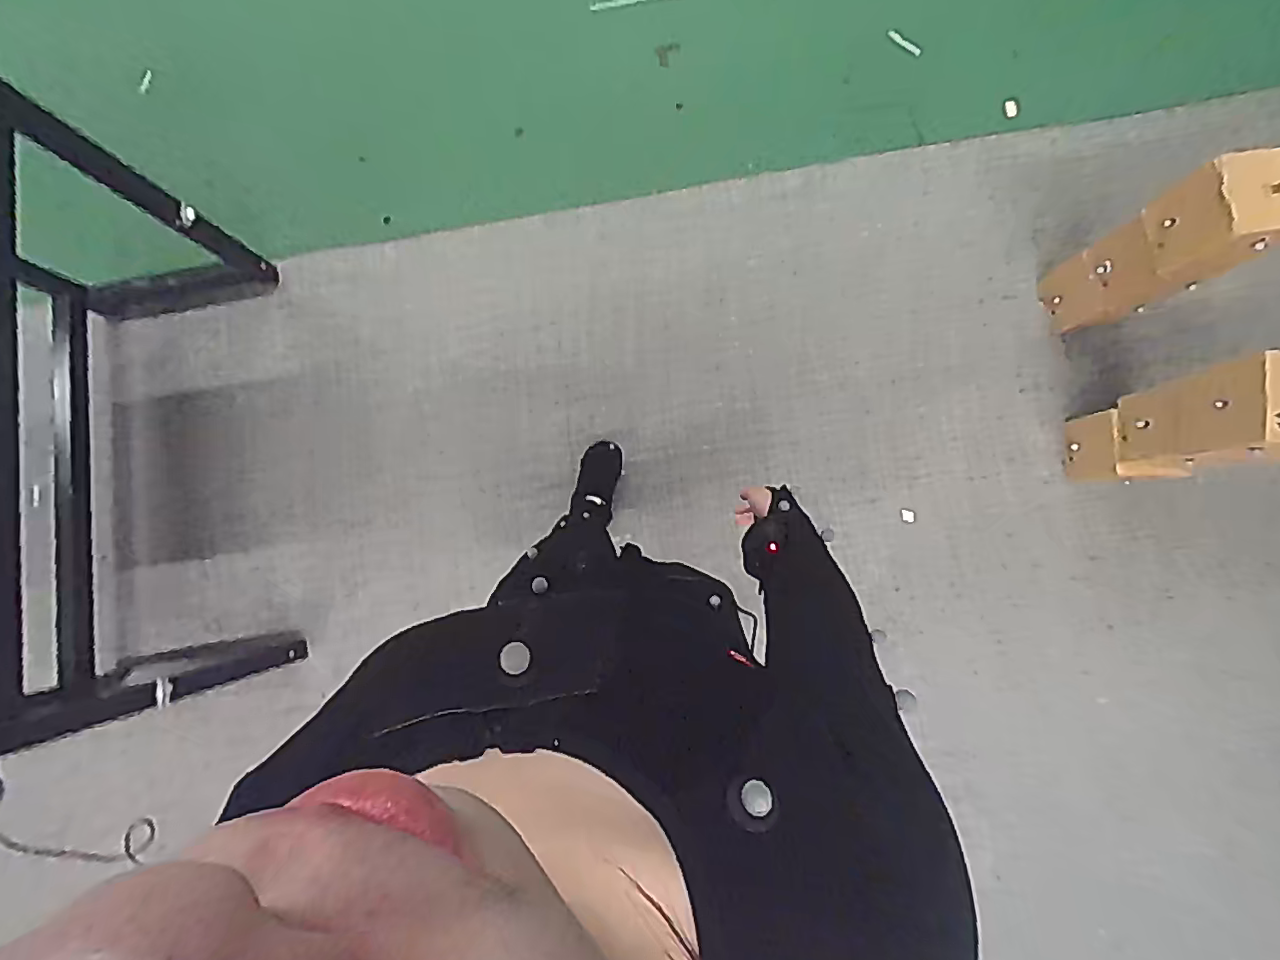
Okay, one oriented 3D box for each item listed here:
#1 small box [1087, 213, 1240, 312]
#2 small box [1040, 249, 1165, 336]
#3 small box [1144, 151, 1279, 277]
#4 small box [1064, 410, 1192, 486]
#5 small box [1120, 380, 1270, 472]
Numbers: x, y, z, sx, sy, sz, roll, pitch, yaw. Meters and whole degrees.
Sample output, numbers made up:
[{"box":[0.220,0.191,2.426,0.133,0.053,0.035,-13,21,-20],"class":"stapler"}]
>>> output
[{"box":[1.208,-0.515,1.259,0.179,0.176,0.168,-13,82,1],"class":"small box"},{"box":[1.211,-0.500,1.421,0.179,0.176,0.168,-13,82,1],"class":"small box"},{"box":[1.197,-0.534,1.098,0.179,0.176,0.168,-6,83,2],"class":"small box"},{"box":[1.226,-0.076,1.370,0.179,0.176,0.168,1,83,3],"class":"small box"},{"box":[1.227,-0.115,1.211,0.179,0.176,0.168,5,83,4],"class":"small box"}]
